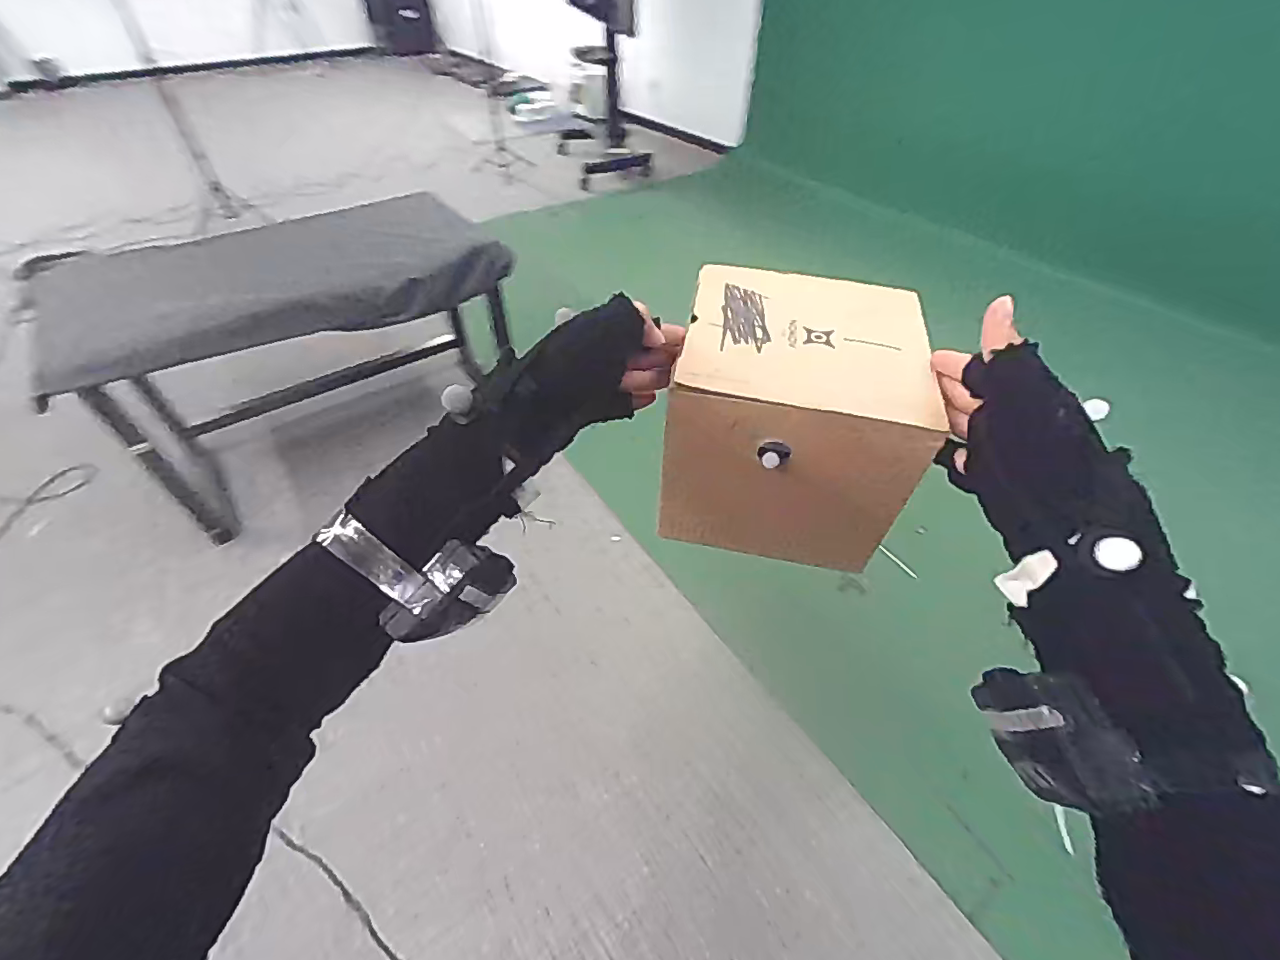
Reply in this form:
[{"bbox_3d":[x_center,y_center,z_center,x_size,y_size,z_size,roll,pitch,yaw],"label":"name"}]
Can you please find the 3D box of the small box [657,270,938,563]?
[{"bbox_3d":[0.113,-0.050,0.452,0.179,0.176,0.168,10,50,6],"label":"small box"}]
